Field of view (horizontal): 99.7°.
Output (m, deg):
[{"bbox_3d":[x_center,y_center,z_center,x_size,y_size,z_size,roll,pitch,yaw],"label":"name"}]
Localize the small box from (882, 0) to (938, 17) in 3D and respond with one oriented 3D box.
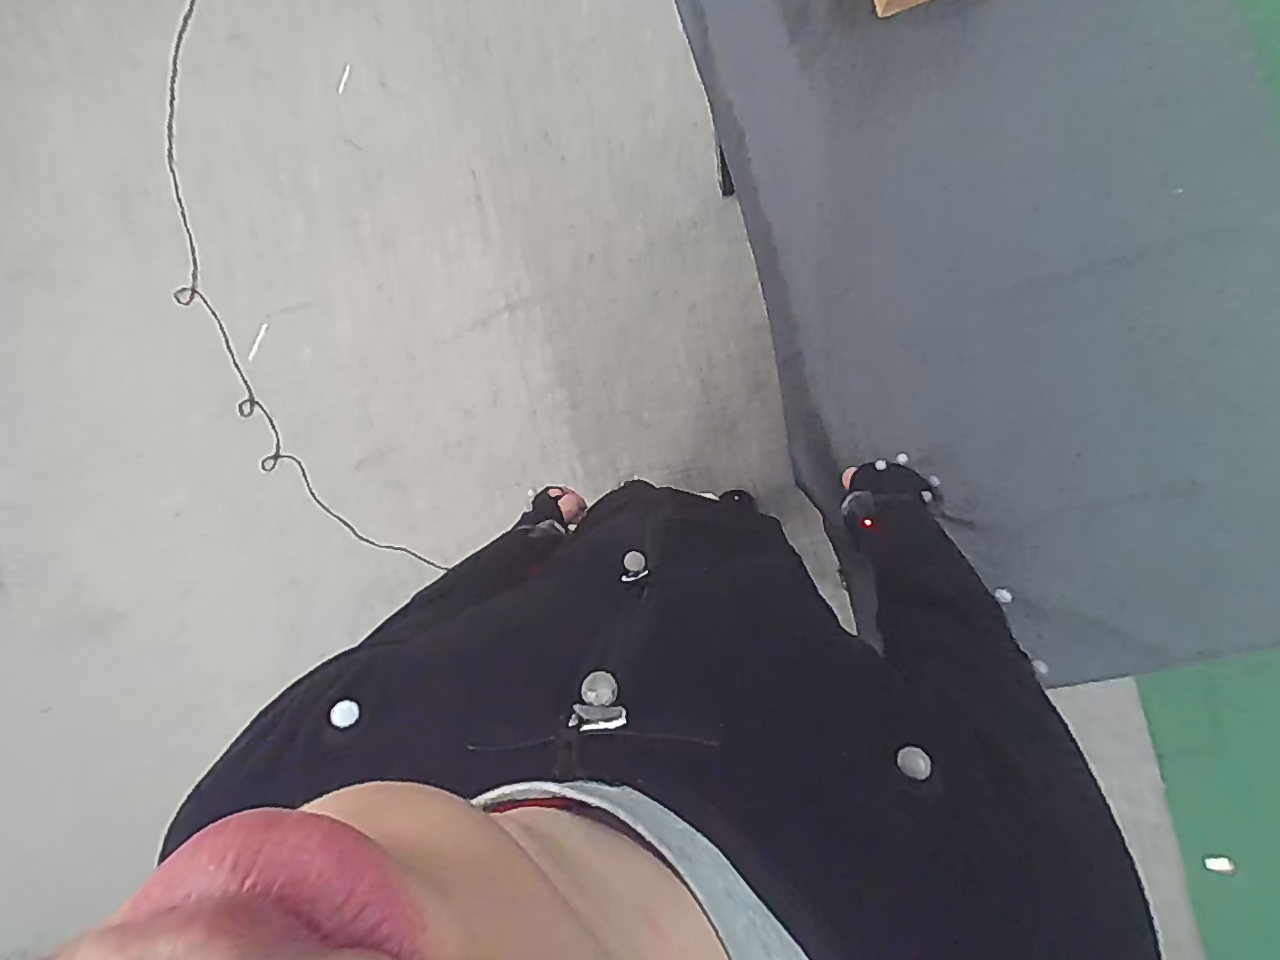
[{"bbox_3d":[0.387,-0.727,0.656,0.179,0.176,0.168,-14,89,12],"label":"small box"}]
